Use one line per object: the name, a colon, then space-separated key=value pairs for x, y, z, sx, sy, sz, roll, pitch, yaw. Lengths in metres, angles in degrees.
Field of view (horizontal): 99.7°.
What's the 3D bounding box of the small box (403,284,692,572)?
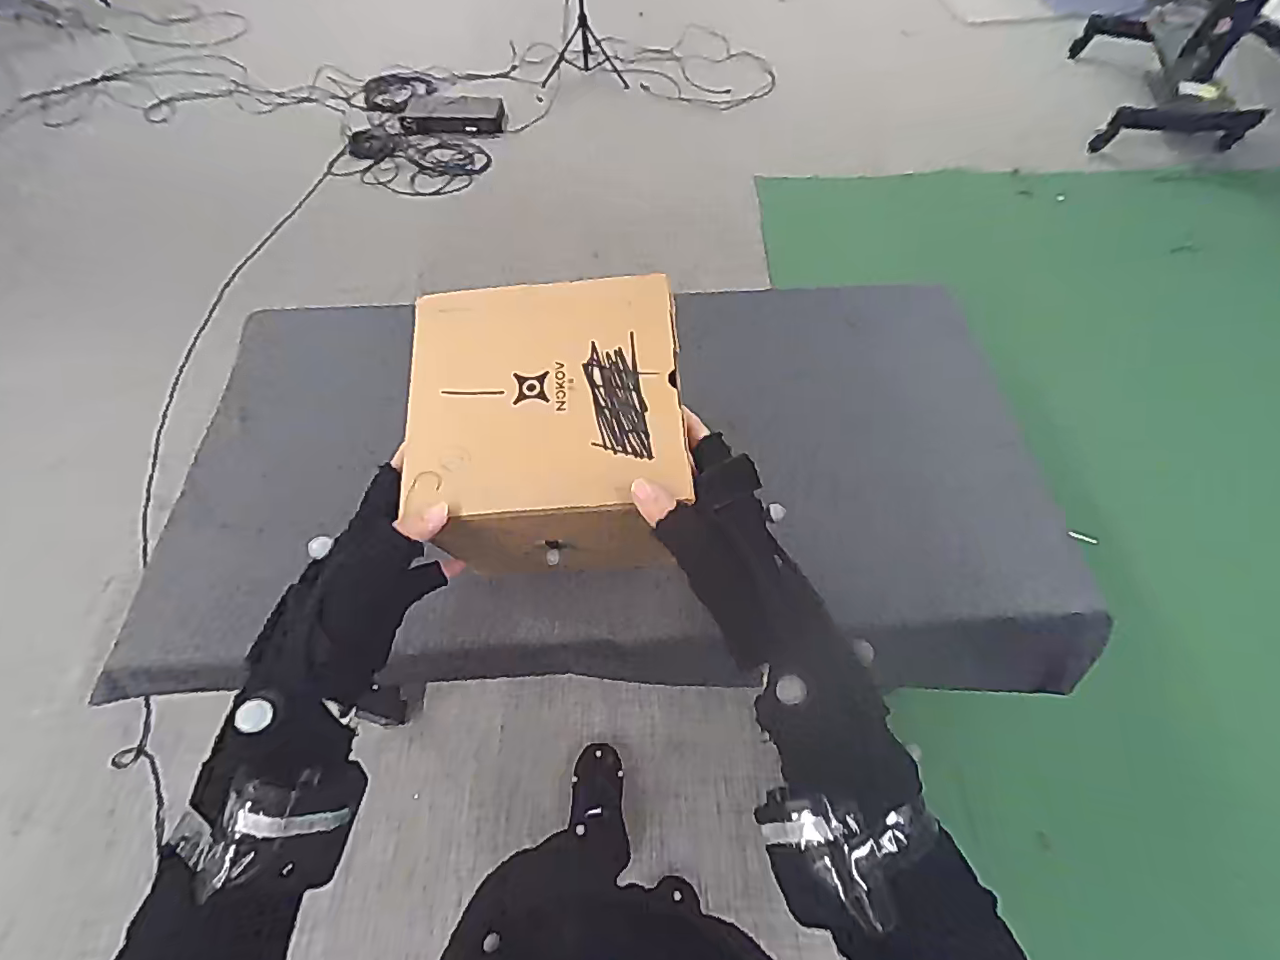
small box: x=-0.058 y=-0.027 z=0.424 sx=0.179 sy=0.176 sz=0.168 roll=-4 pitch=70 yaw=1
